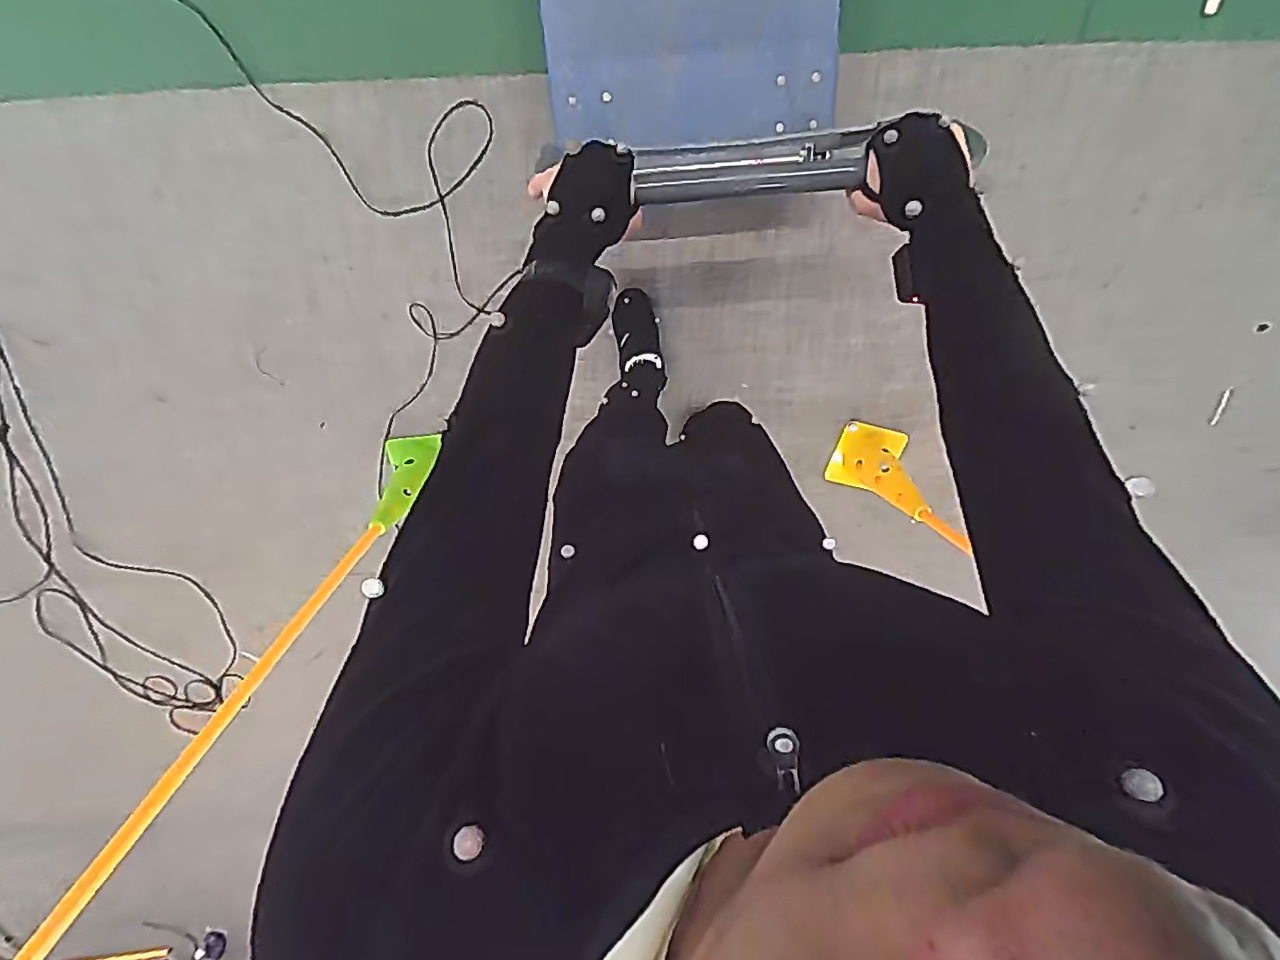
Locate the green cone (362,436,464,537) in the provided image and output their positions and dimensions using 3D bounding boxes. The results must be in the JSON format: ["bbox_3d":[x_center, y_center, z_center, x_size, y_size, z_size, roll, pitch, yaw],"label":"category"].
[{"bbox_3d":[-0.646,0.041,1.469,0.202,0.368,0.200,-5,115,4],"label":"green cone"}]
